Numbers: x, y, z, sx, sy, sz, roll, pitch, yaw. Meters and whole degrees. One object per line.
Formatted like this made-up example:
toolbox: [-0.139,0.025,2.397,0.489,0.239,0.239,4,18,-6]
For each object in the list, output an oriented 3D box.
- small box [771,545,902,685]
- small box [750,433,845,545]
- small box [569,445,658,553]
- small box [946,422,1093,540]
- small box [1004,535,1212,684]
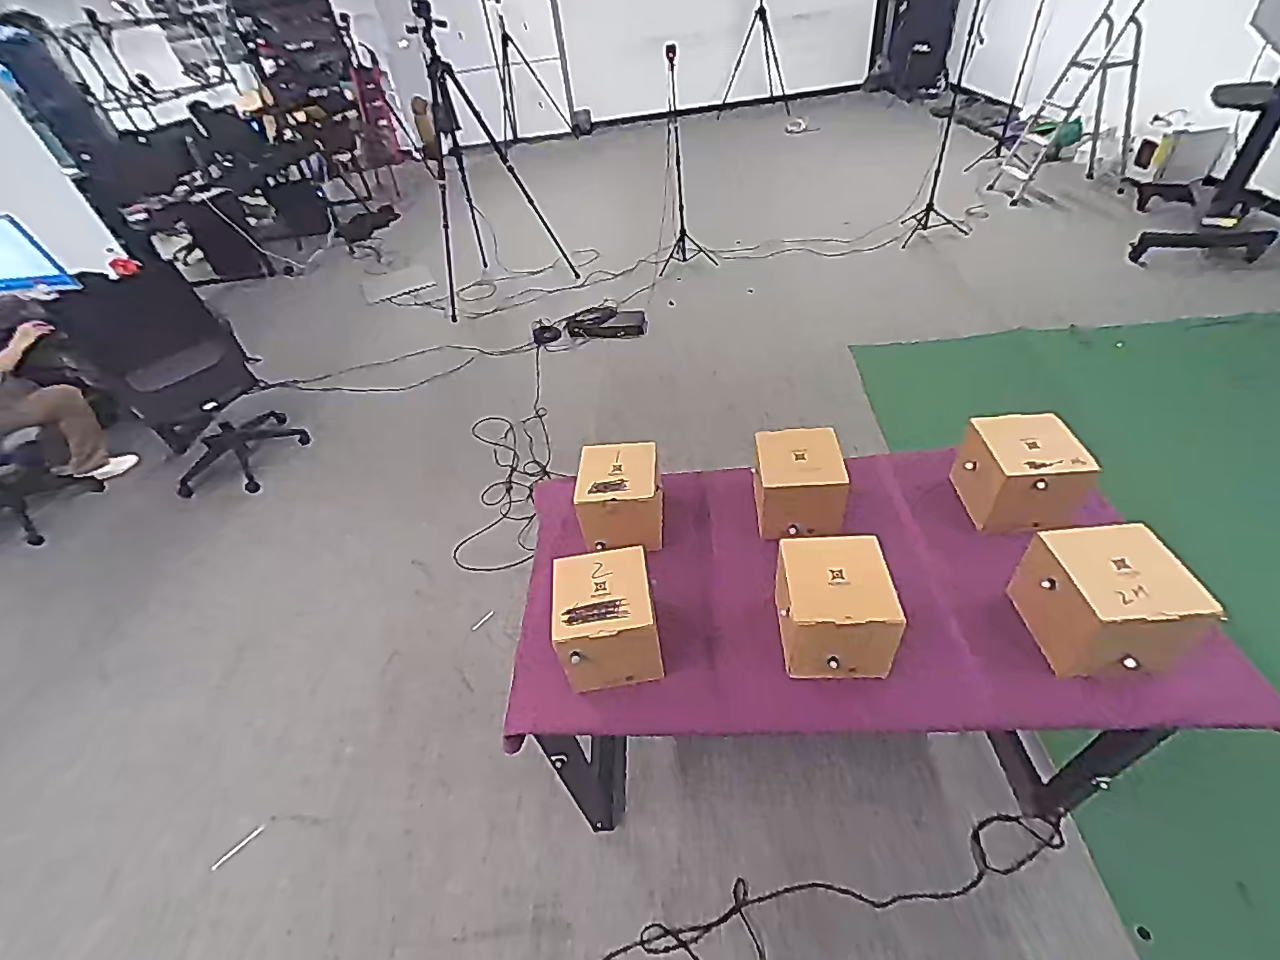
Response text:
small box: [0.325,0.232,0.935,0.168,0.176,0.179,-2,43,6]
small box: [0.327,0.020,1.158,0.168,0.176,0.179,-2,45,7]
small box: [-0.049,0.047,1.180,0.168,0.176,0.179,-2,44,5]
small box: [0.760,0.003,1.109,0.168,0.176,0.179,-3,43,6]
small box: [0.742,0.213,0.887,0.168,0.176,0.179,-5,43,5]
